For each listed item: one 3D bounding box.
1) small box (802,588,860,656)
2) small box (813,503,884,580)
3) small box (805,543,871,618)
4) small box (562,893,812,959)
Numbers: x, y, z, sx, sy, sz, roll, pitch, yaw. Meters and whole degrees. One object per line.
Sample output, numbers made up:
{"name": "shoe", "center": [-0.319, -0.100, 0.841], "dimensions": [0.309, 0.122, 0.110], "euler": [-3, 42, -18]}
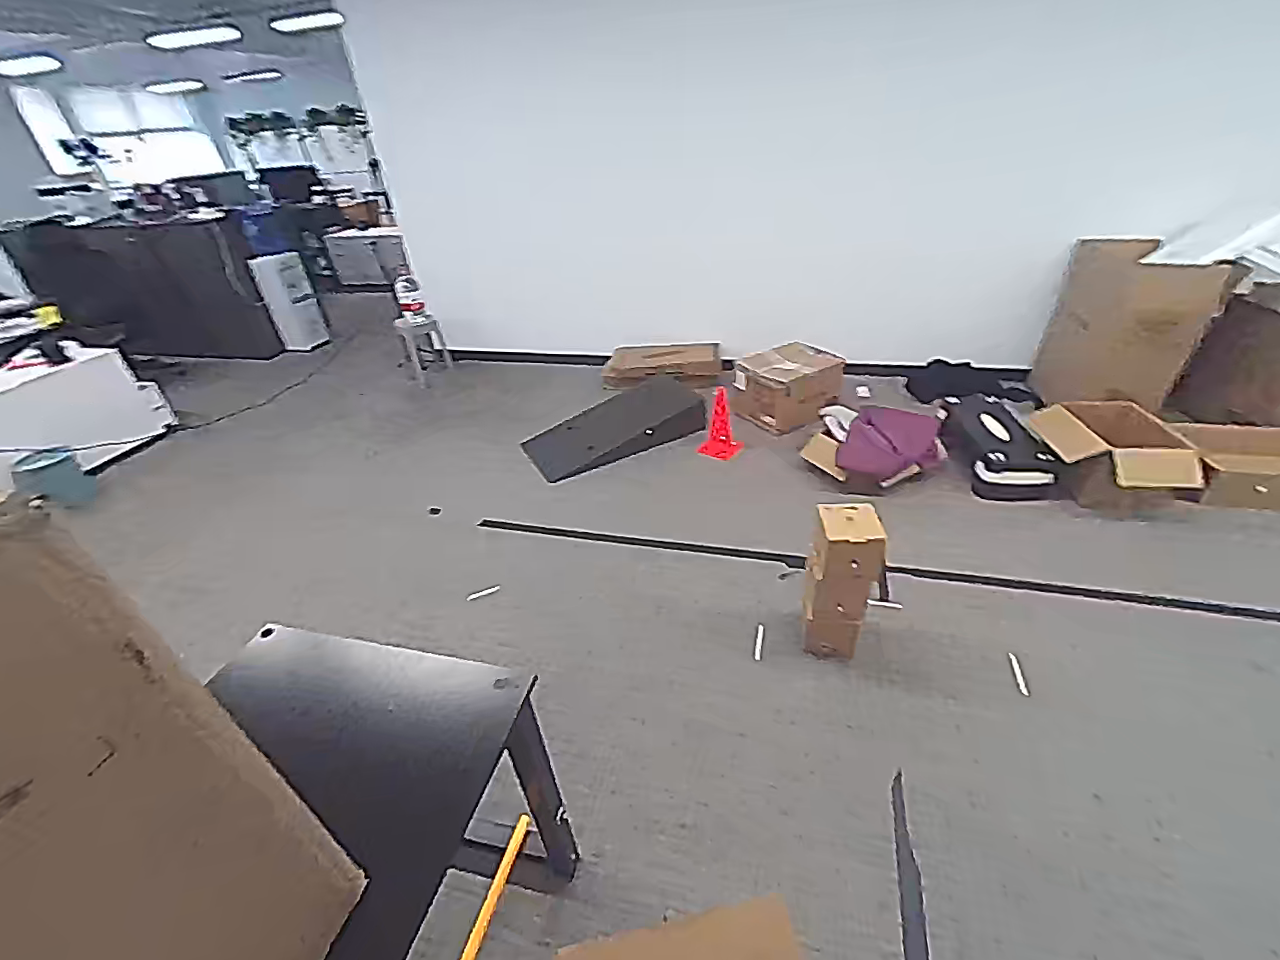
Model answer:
{"name": "small box", "center": [0.643, 0.468, 1.835], "dimensions": [0.168, 0.176, 0.179], "euler": [2, 36, 13]}
{"name": "small box", "center": [0.632, 0.191, 1.657], "dimensions": [0.168, 0.176, 0.179], "euler": [-2, 34, 7]}
{"name": "small box", "center": [0.635, 0.324, 1.753], "dimensions": [0.168, 0.176, 0.179], "euler": [-1, 34, 9]}
{"name": "small box", "center": [0.042, 0.434, 0.392], "dimensions": [0.179, 0.176, 0.168], "euler": [-6, 44, -10]}
